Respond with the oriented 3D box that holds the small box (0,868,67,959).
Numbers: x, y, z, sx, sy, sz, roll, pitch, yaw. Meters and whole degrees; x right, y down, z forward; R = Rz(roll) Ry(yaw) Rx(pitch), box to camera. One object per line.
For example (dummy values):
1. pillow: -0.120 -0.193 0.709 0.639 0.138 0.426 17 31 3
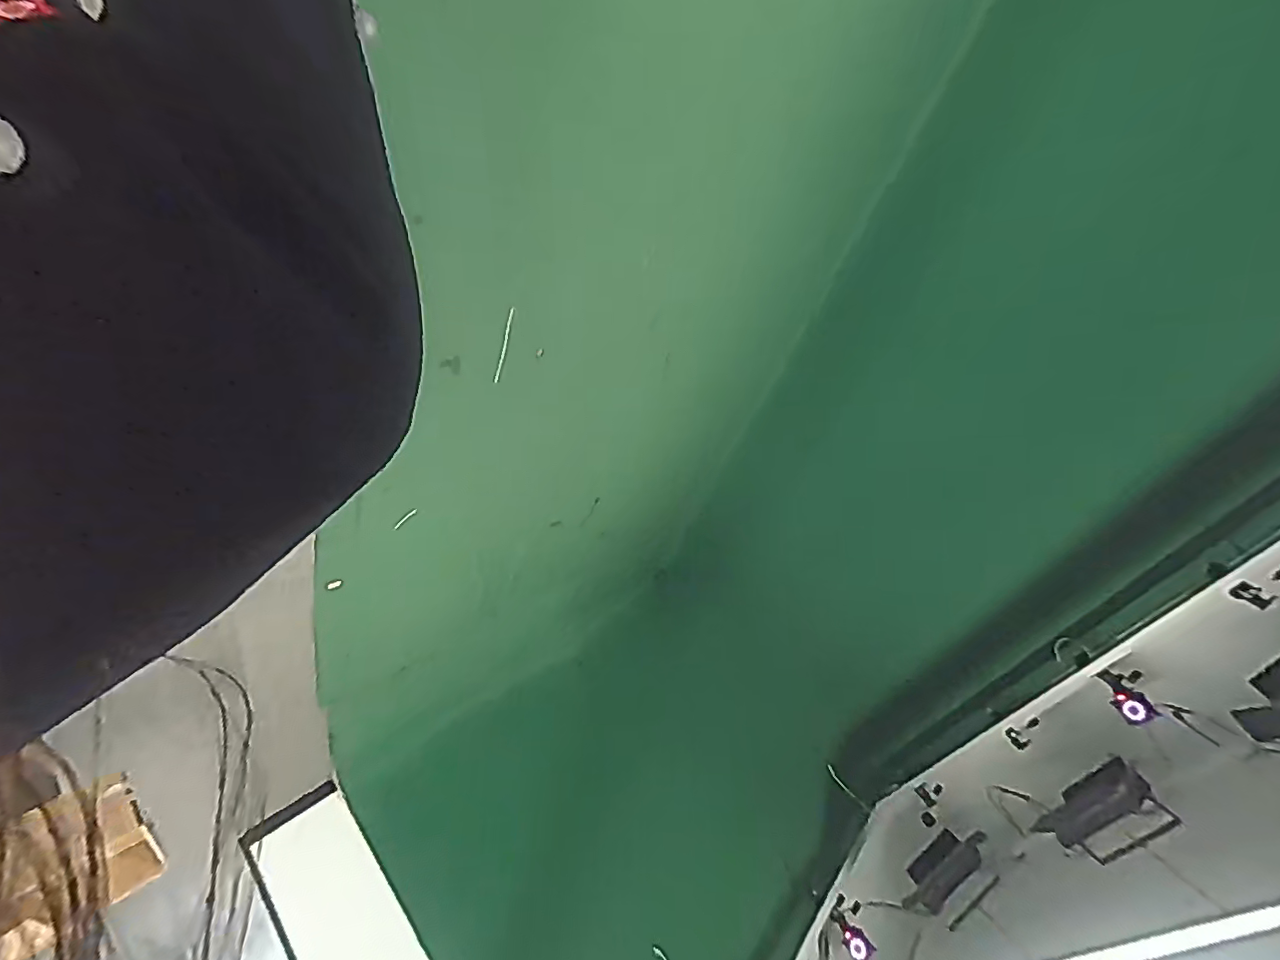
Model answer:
1. small box: -1.570 1.101 1.327 0.168 0.176 0.179 -27 149 -41
